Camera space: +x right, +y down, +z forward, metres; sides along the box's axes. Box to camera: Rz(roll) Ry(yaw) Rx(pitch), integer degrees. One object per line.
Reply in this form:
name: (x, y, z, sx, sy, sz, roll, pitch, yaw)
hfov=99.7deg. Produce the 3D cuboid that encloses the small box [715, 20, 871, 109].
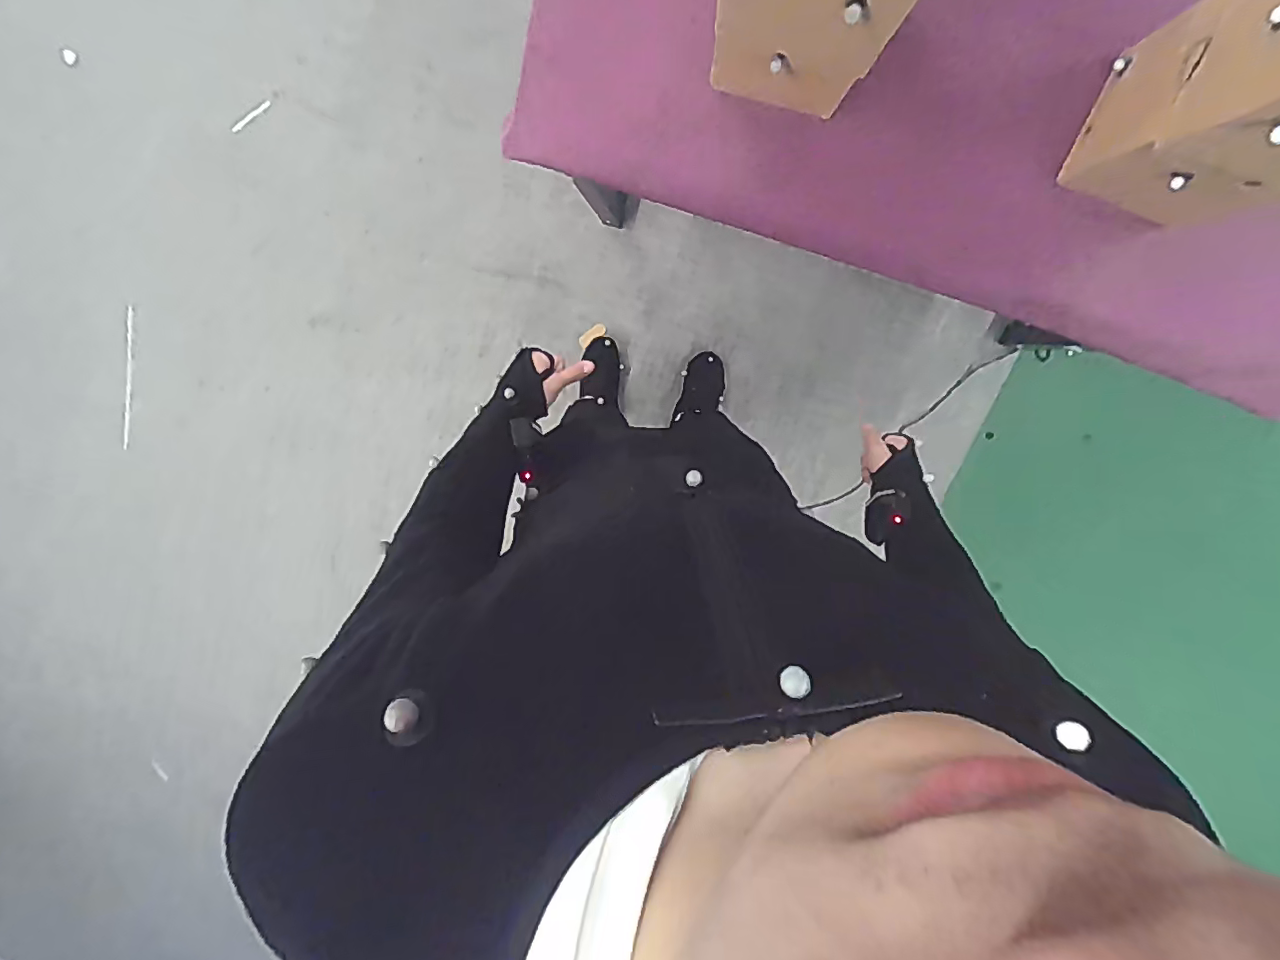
small box: (0.198, -0.584, 0.655, 0.179, 0.176, 0.168, 16, 107, 2)

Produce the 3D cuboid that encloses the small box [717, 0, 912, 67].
small box: (0.180, -0.526, 0.501, 0.179, 0.176, 0.168, 18, 106, 1)

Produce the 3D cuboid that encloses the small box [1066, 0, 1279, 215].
small box: (0.674, -0.439, 0.645, 0.179, 0.176, 0.168, 20, 106, 0)
